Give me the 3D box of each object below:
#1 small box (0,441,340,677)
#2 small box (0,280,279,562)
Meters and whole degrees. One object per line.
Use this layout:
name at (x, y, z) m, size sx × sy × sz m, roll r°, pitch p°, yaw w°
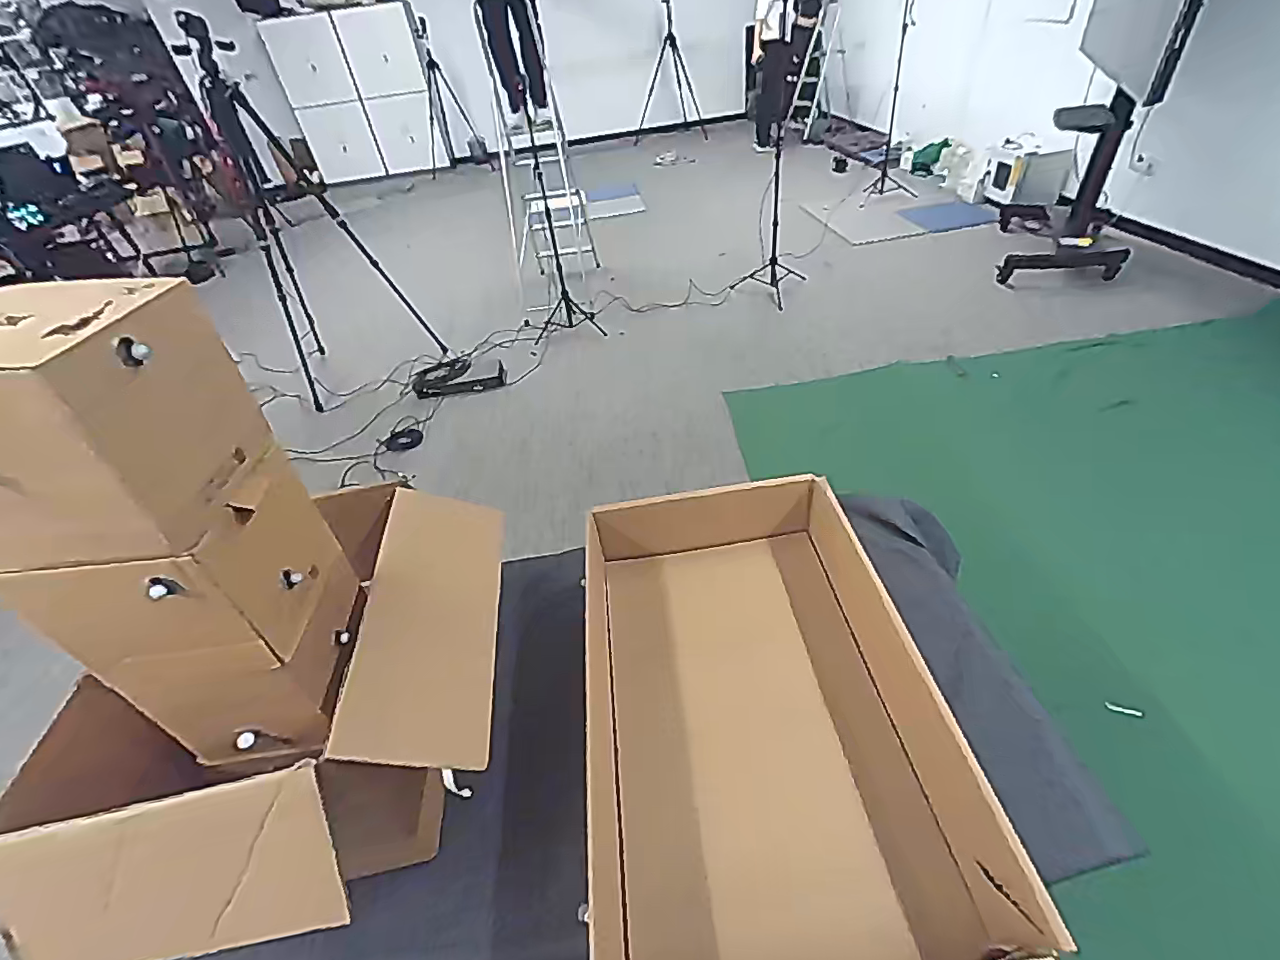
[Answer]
small box at (-0.445, 0.080, 0.547) m, size 0.179 × 0.176 × 0.168 m, roll -5°, pitch 40°, yaw -4°
small box at (-0.451, -0.048, 0.444) m, size 0.179 × 0.176 × 0.168 m, roll -4°, pitch 40°, yaw -2°
